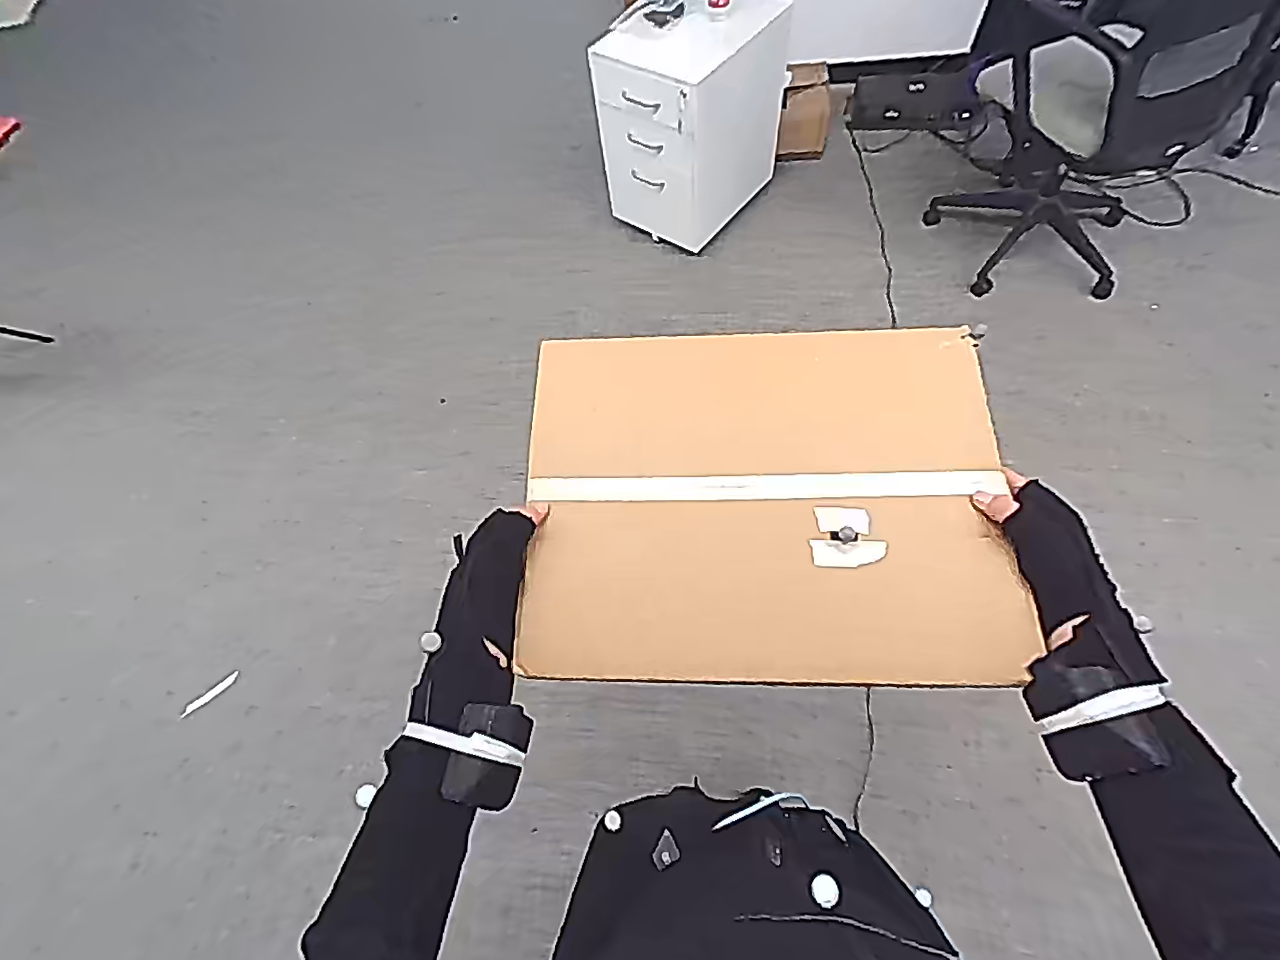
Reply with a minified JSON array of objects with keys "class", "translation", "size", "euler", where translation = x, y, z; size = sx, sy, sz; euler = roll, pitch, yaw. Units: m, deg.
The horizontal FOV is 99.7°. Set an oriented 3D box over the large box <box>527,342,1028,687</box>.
[{"class":"large box","translation":[0.113,0.067,0.618],"size":[0.408,0.320,0.320],"euler":[-1,71,4]}]
